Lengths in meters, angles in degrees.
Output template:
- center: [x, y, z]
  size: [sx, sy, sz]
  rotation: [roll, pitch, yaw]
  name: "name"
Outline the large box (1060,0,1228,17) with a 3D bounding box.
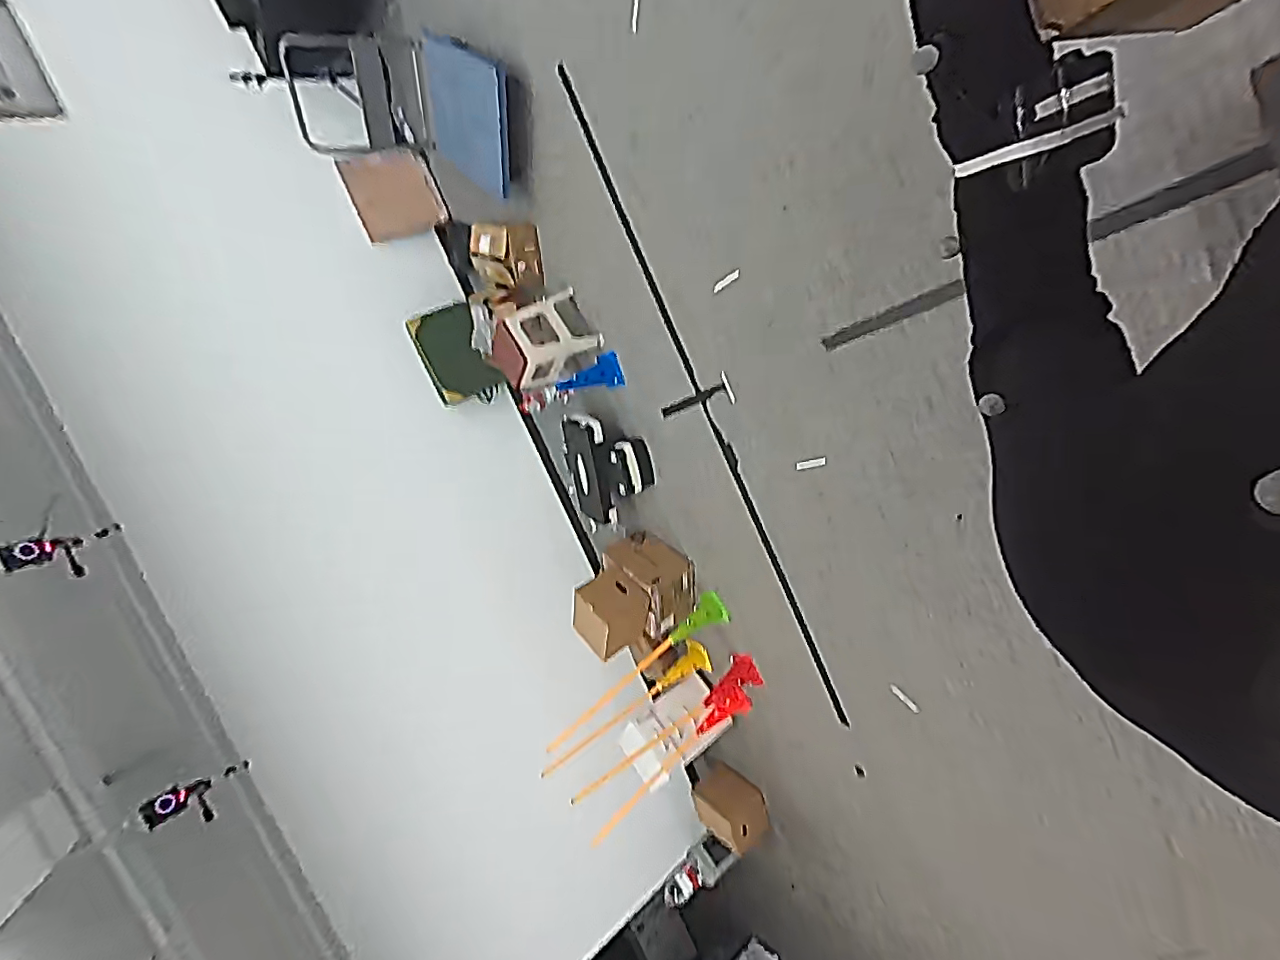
- center: [0.417, -0.496, 0.213]
  size: [0.408, 0.320, 0.320]
  rotation: [-5, 111, 58]
  name: "large box"
